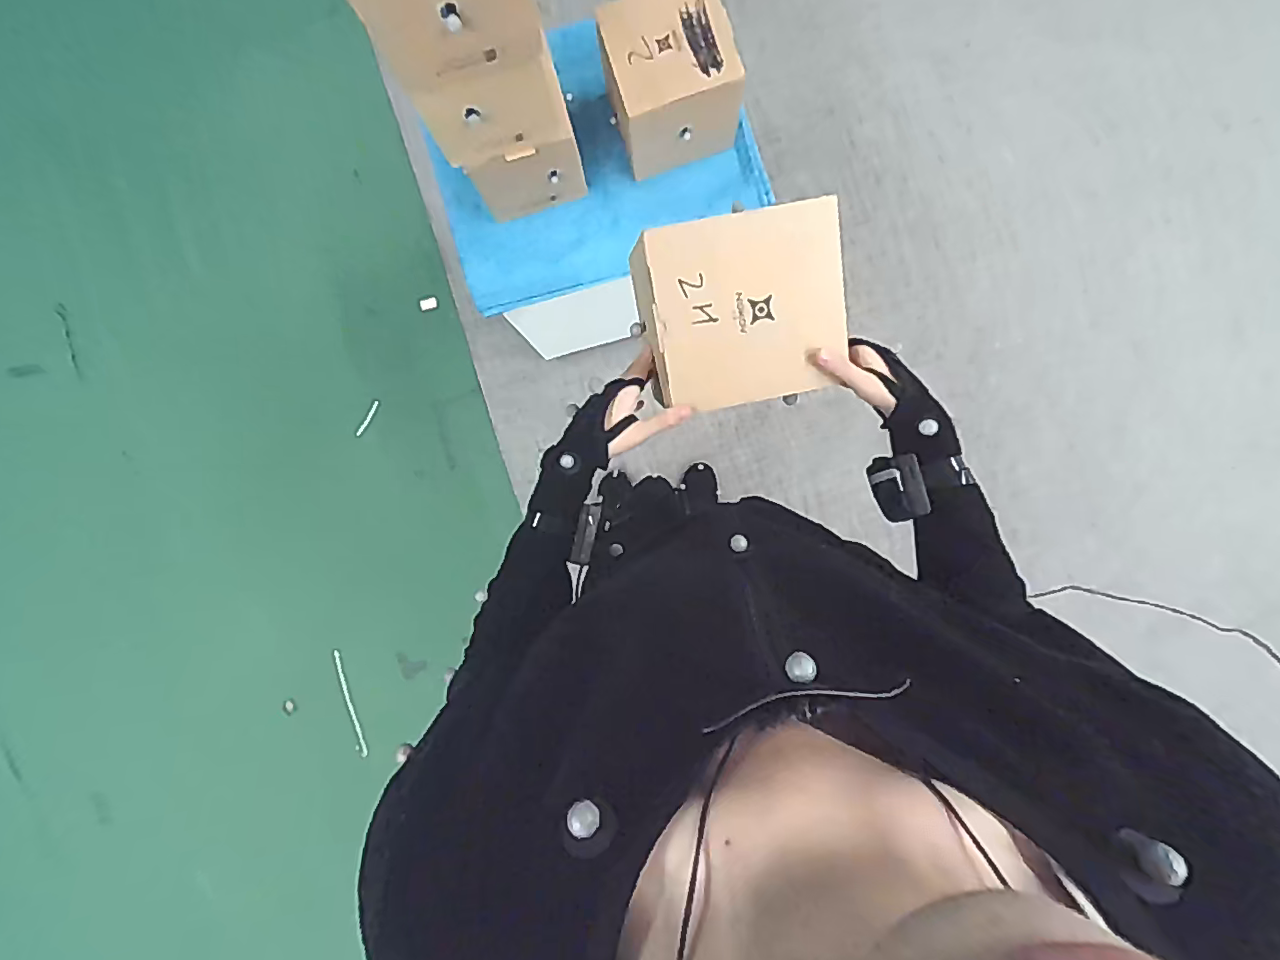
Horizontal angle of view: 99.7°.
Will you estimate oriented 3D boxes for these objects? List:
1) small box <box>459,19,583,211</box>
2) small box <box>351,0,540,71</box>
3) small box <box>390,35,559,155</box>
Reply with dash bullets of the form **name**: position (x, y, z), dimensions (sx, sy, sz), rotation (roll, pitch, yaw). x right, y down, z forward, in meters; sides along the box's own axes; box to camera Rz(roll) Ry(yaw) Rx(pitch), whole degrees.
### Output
- **small box**: position (-0.193, -0.546, 0.840), dimensions (0.168, 0.176, 0.179), rotation (-15, 89, 1)
- **small box**: position (-0.205, -0.536, 0.514), dimensions (0.168, 0.176, 0.179), rotation (-14, 89, 1)
- **small box**: position (-0.209, -0.544, 0.678), dimensions (0.168, 0.176, 0.179), rotation (-14, 88, 1)
